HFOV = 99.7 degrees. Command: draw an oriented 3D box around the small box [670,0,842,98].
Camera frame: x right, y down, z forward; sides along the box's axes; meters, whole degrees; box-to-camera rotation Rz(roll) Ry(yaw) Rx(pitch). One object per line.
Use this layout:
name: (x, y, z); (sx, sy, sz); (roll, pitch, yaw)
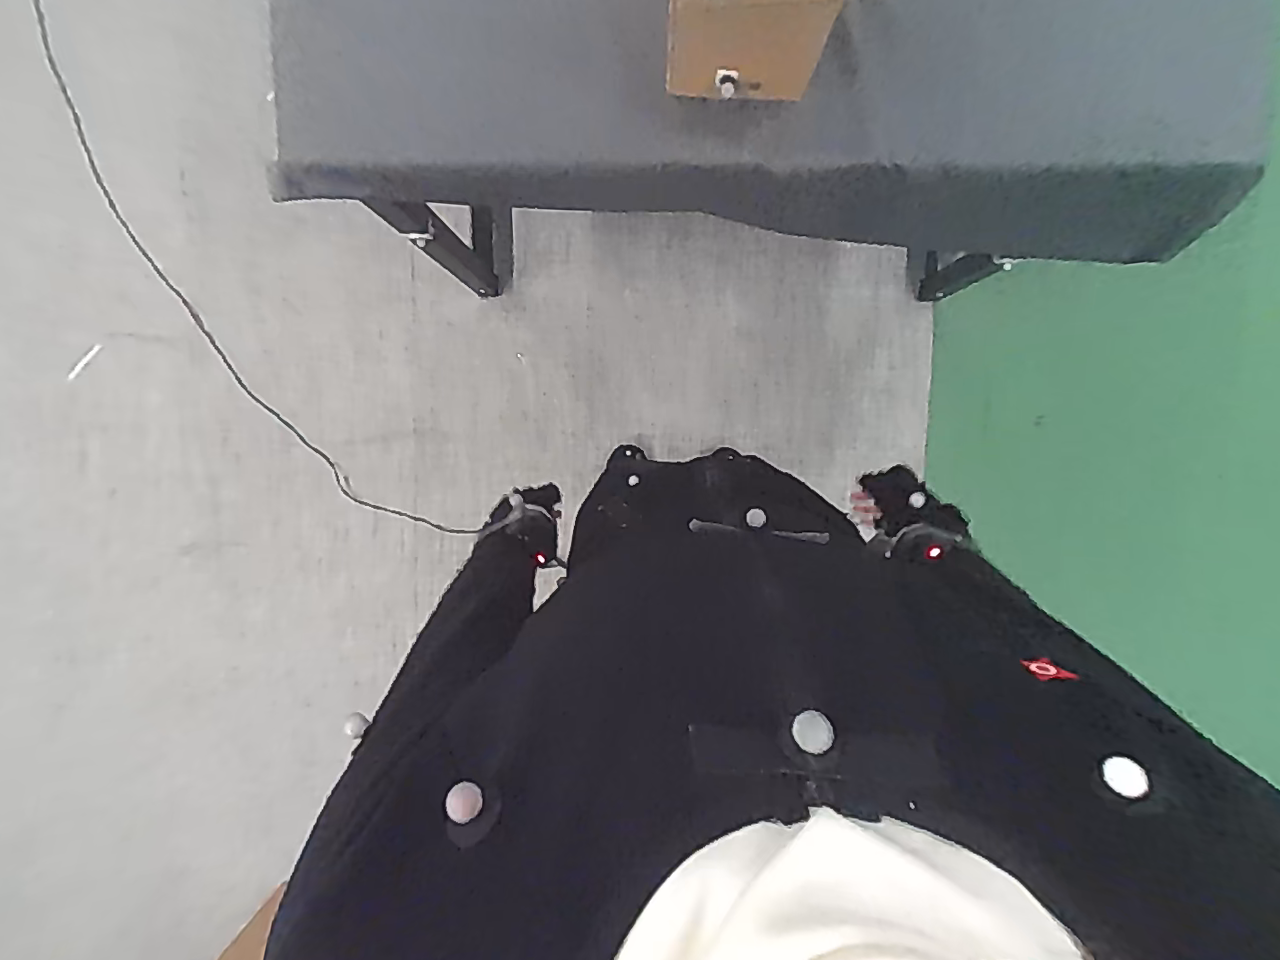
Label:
small box: (0.118, -0.552, 0.576); (0.168, 0.176, 0.179); (2, 96, 3)
